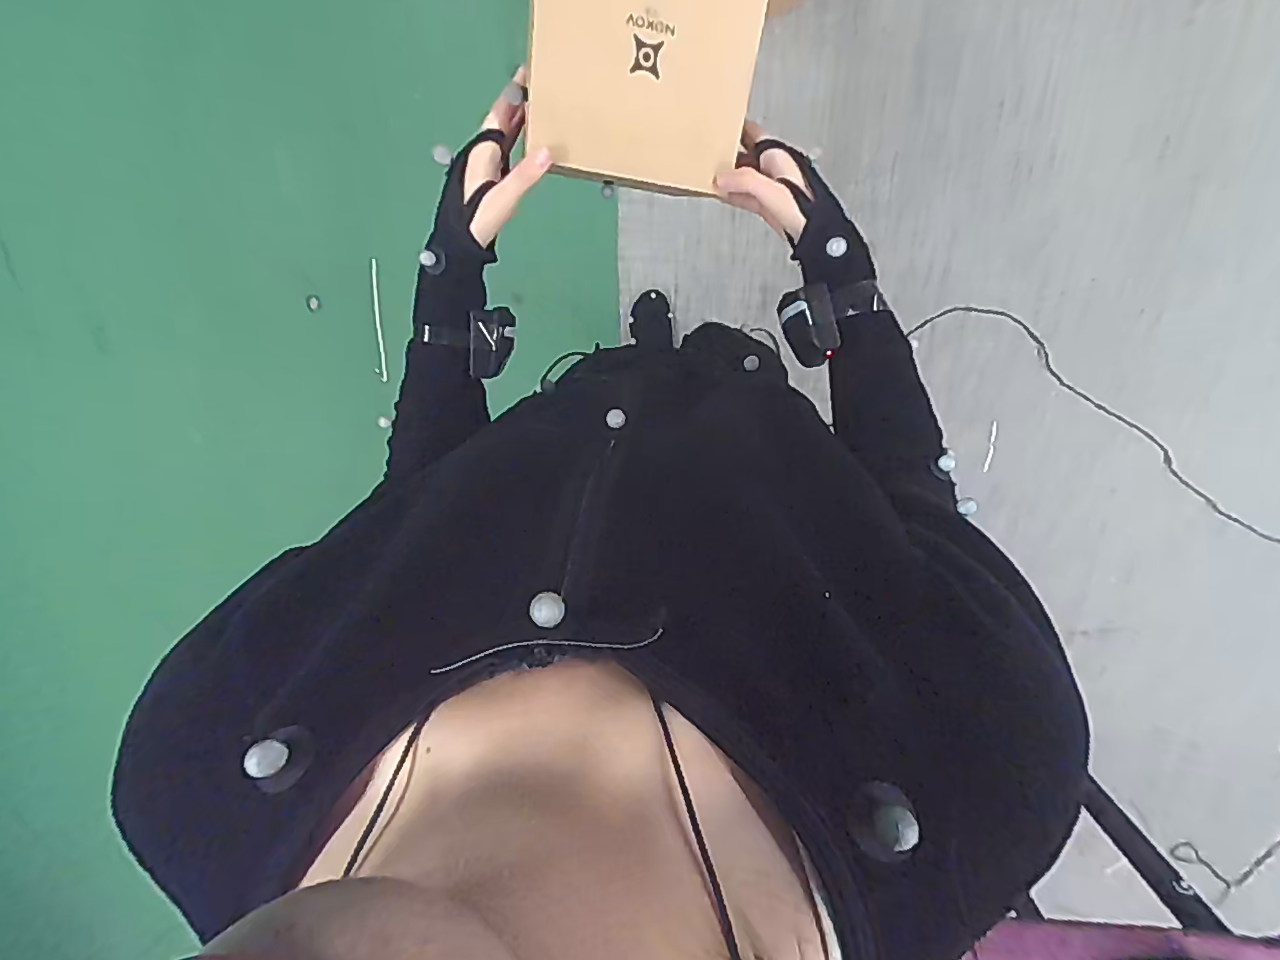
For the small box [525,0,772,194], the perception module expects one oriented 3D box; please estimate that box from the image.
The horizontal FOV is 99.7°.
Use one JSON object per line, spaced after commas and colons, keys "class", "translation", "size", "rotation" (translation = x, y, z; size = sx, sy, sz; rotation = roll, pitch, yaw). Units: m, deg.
{"class": "small box", "translation": [-0.007, -0.349, 0.453], "size": [0.168, 0.176, 0.179], "rotation": [2, 115, -15]}
